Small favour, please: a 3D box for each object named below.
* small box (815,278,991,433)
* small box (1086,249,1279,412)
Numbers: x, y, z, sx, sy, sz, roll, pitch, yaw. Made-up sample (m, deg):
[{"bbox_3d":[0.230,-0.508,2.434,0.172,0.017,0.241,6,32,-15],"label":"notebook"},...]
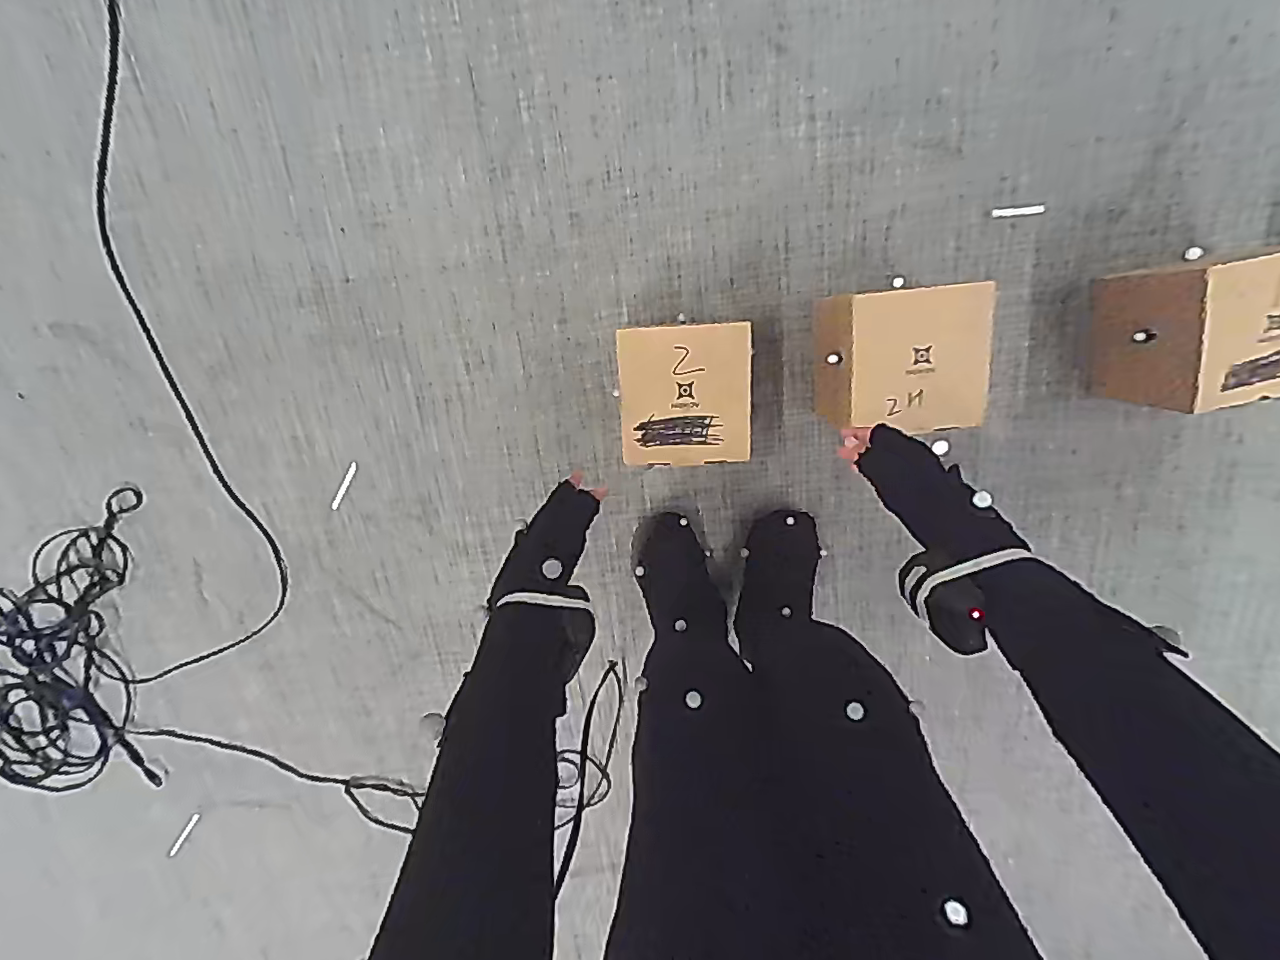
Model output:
[{"bbox_3d":[0.341,-0.169,0.737,0.168,0.176,0.179,-5,106,4],"label":"small box"},{"bbox_3d":[0.742,-0.201,0.721,0.168,0.176,0.179,-10,105,4],"label":"small box"}]
